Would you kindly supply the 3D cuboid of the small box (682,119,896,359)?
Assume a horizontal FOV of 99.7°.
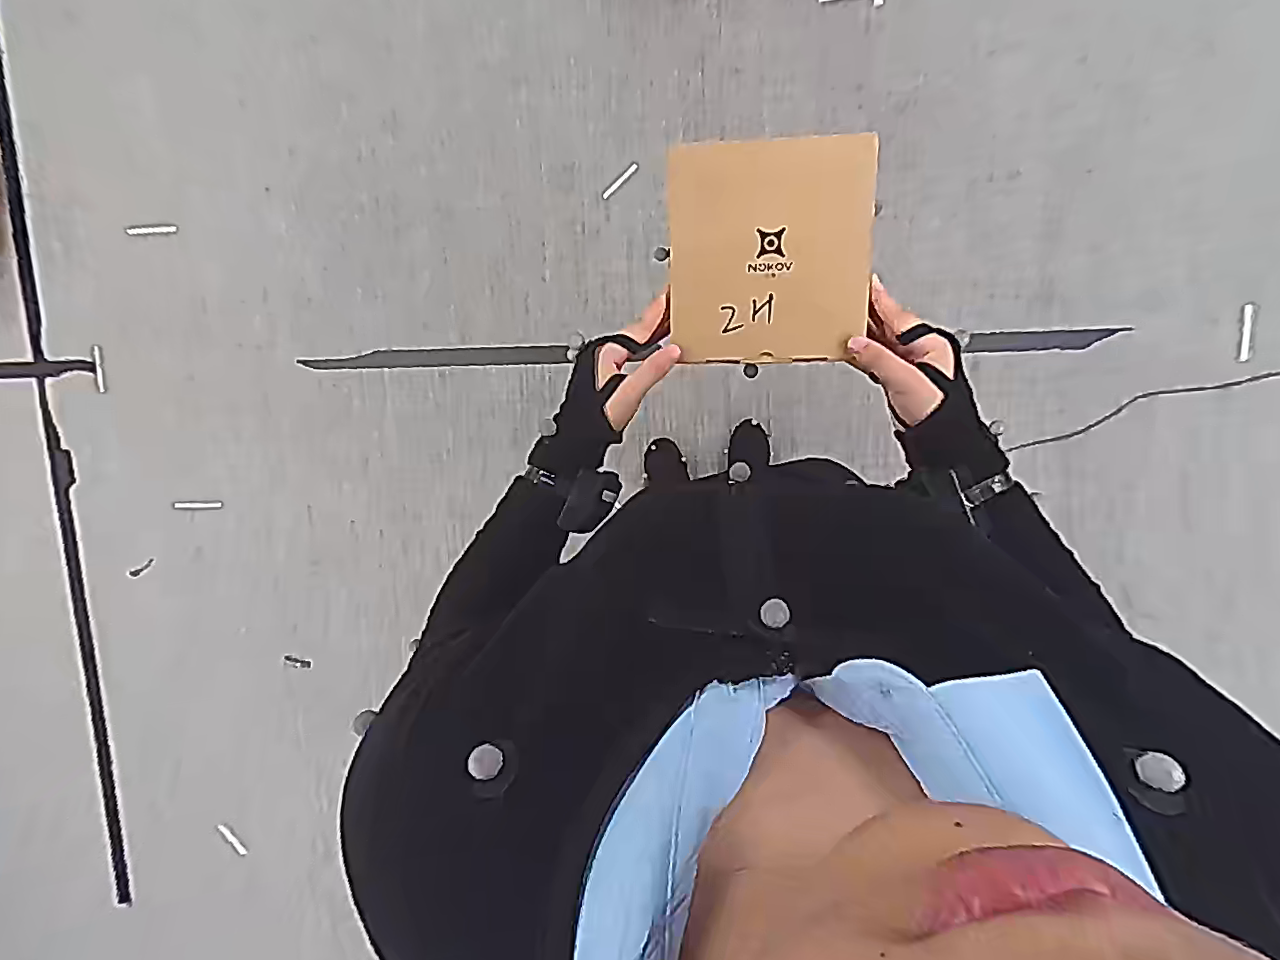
[{"bbox_3d":[0.124,-0.208,0.515,0.168,0.176,0.179,0,102,6],"label":"small box"}]
